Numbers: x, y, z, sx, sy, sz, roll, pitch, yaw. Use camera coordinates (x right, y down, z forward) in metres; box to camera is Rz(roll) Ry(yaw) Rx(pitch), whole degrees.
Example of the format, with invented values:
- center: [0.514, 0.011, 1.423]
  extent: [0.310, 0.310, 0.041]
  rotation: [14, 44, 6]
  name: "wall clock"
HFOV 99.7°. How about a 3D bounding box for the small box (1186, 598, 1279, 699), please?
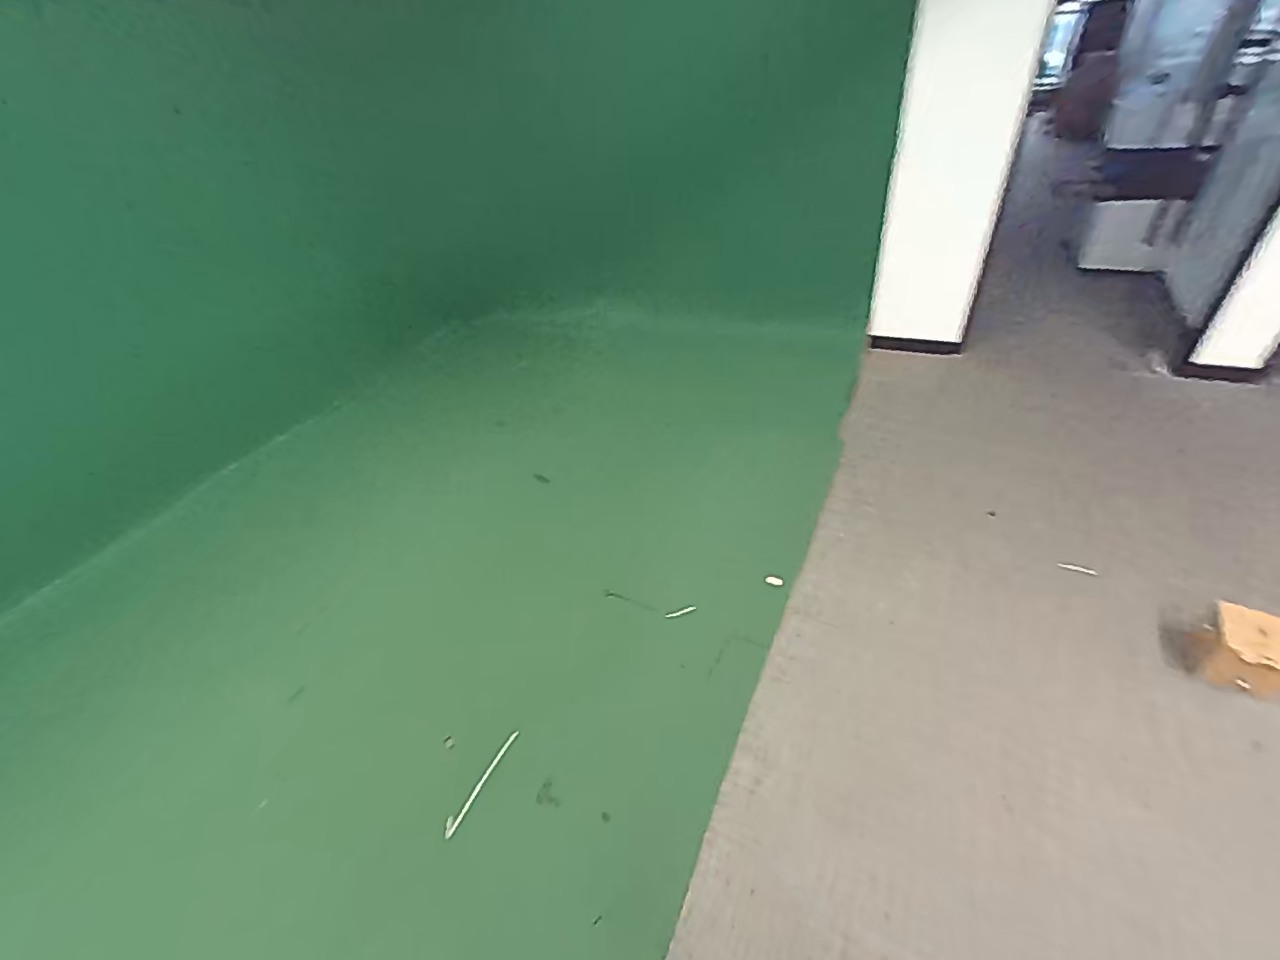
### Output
- center: [1.699, 0.477, 1.532]
  extent: [0.168, 0.176, 0.179]
  rotation: [21, 51, 34]
  name: "small box"
